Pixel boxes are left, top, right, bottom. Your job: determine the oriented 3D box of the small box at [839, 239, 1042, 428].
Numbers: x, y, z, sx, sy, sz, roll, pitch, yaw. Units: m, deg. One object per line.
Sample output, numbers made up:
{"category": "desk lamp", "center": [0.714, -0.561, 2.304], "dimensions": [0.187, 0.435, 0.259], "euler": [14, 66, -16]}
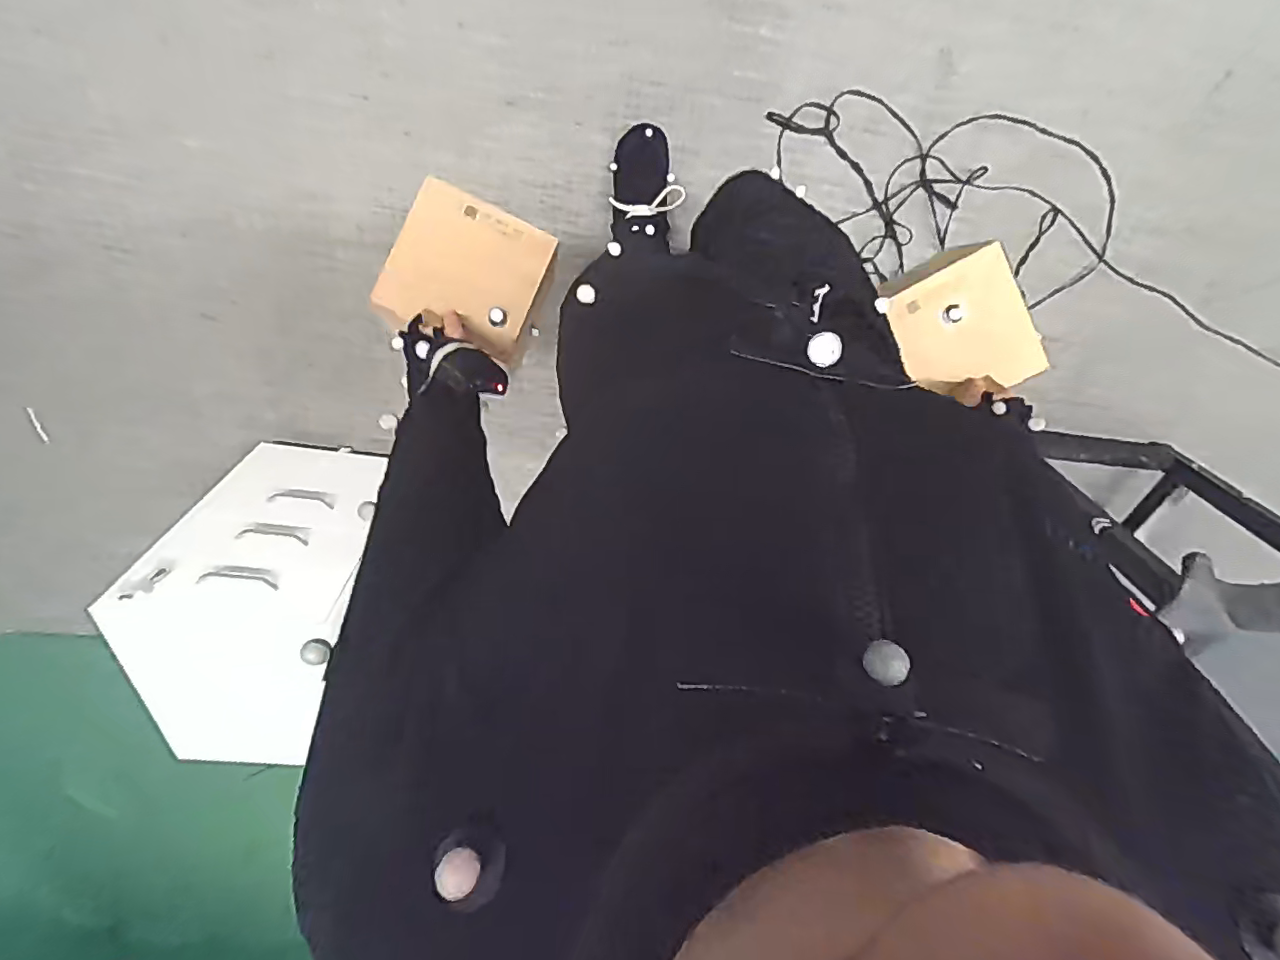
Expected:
{"category": "small box", "center": [0.381, -0.199, 0.716], "dimensions": [0.168, 0.179, 0.176], "euler": [-27, 104, 22]}
